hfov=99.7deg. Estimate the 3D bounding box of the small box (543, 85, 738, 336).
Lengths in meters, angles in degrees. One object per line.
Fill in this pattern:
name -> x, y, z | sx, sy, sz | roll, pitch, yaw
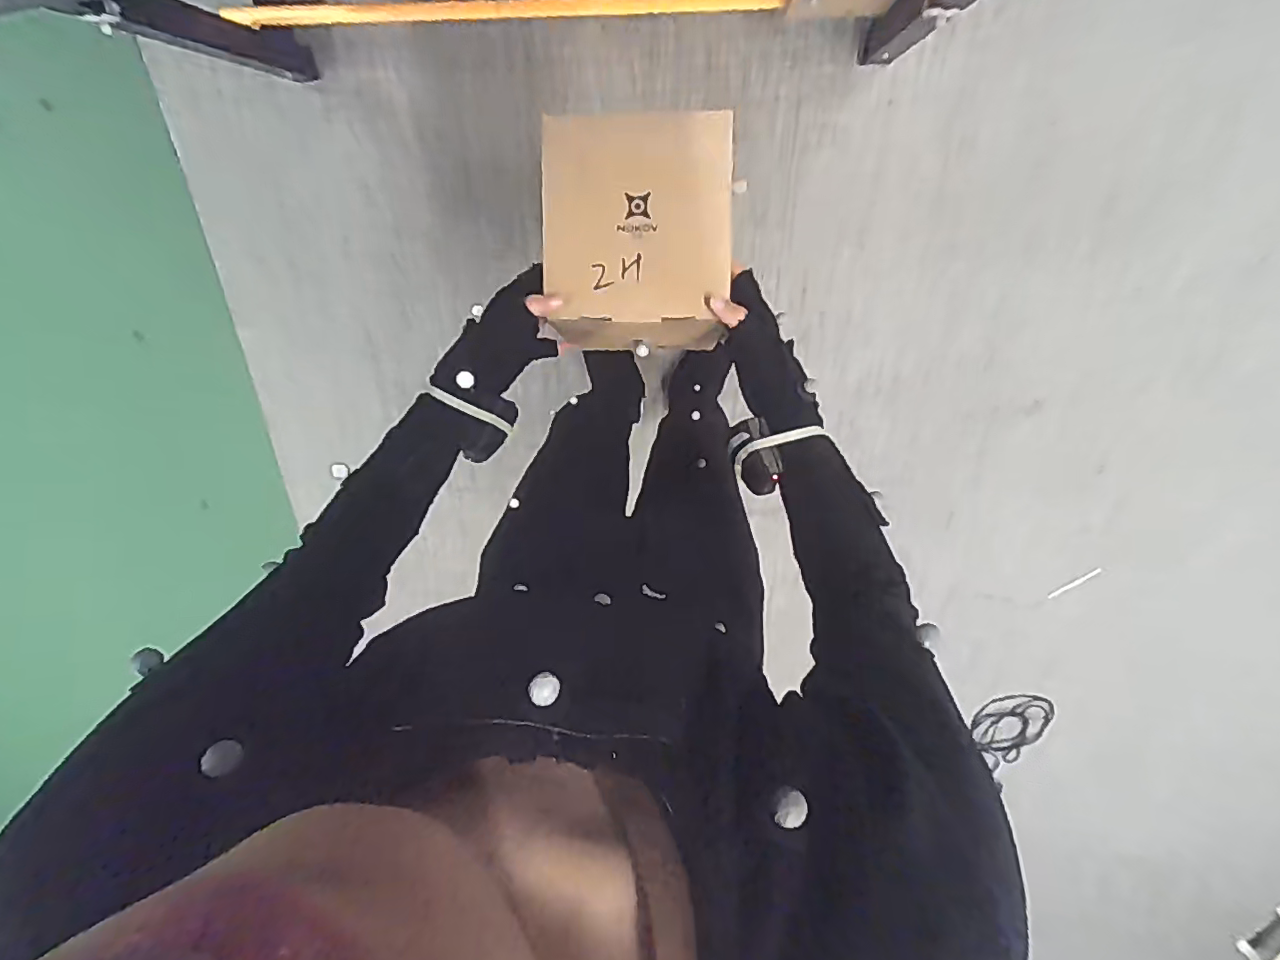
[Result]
small box -> 0.003, -0.248, 0.536 | 0.168, 0.176, 0.179 | 0, 95, 4
